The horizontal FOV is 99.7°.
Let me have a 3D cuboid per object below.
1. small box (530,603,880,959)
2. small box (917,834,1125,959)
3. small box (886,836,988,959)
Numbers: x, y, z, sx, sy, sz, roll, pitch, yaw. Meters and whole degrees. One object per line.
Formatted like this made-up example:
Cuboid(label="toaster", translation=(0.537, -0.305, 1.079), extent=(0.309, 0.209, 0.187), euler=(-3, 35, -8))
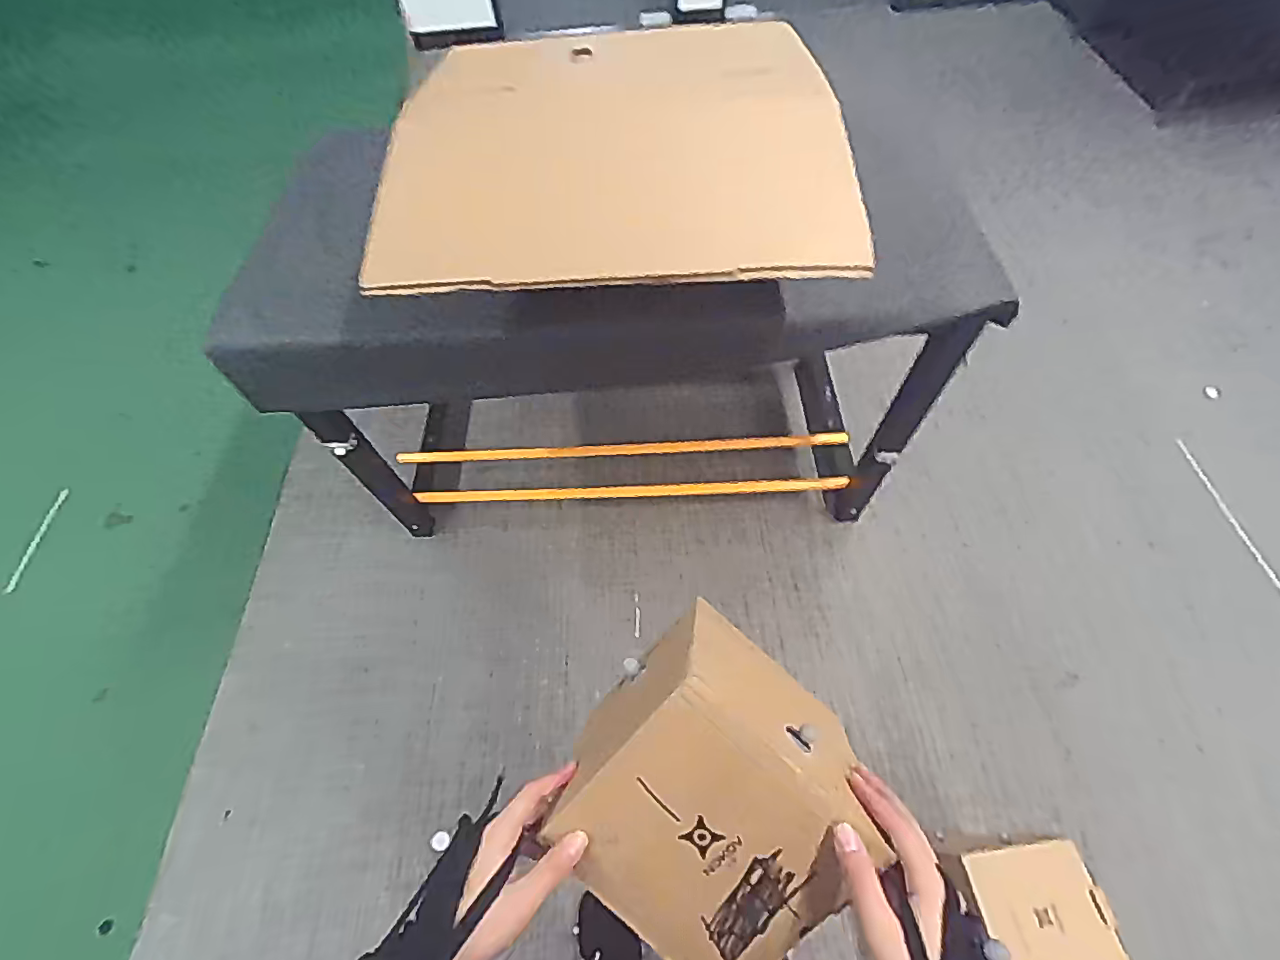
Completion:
Cuboid(label="small box", translation=(0.049, 0.228, 0.437), extent=(0.179, 0.176, 0.168), euler=(41, 98, 2))
Cuboid(label="small box", translation=(0.562, 0.648, 0.820), extent=(0.179, 0.176, 0.168), euler=(-8, 58, -2))
Cuboid(label="small box", translation=(0.564, 0.742, 0.954), extent=(0.168, 0.176, 0.179), euler=(-8, 58, -2))
